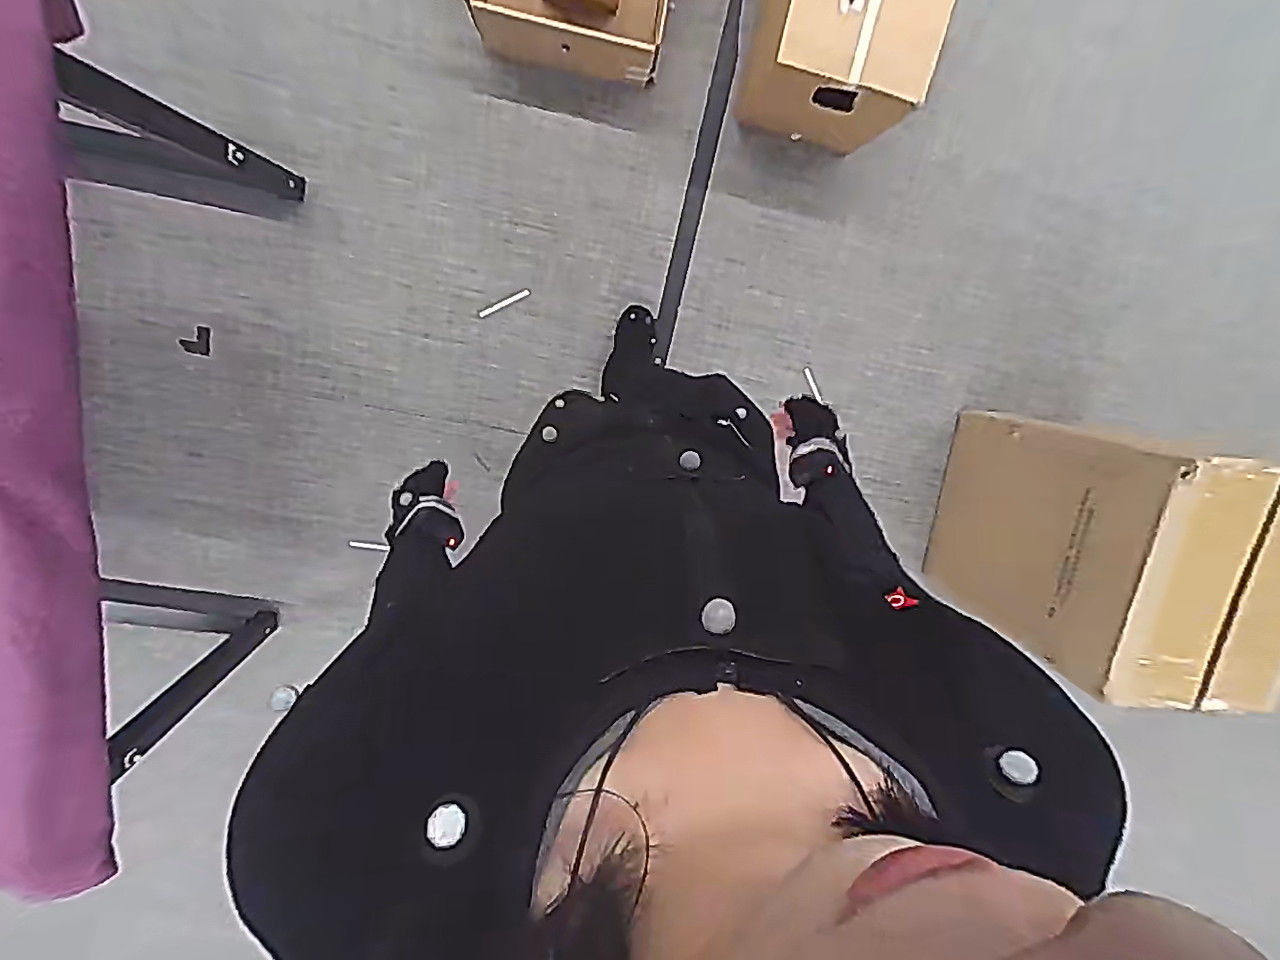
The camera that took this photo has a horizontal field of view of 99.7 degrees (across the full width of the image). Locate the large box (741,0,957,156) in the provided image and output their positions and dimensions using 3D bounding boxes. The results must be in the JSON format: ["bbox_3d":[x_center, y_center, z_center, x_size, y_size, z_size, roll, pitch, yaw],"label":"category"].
[{"bbox_3d":[0.440,-0.983,1.143,0.320,0.320,0.408,11,105,-7],"label":"large box"}]
